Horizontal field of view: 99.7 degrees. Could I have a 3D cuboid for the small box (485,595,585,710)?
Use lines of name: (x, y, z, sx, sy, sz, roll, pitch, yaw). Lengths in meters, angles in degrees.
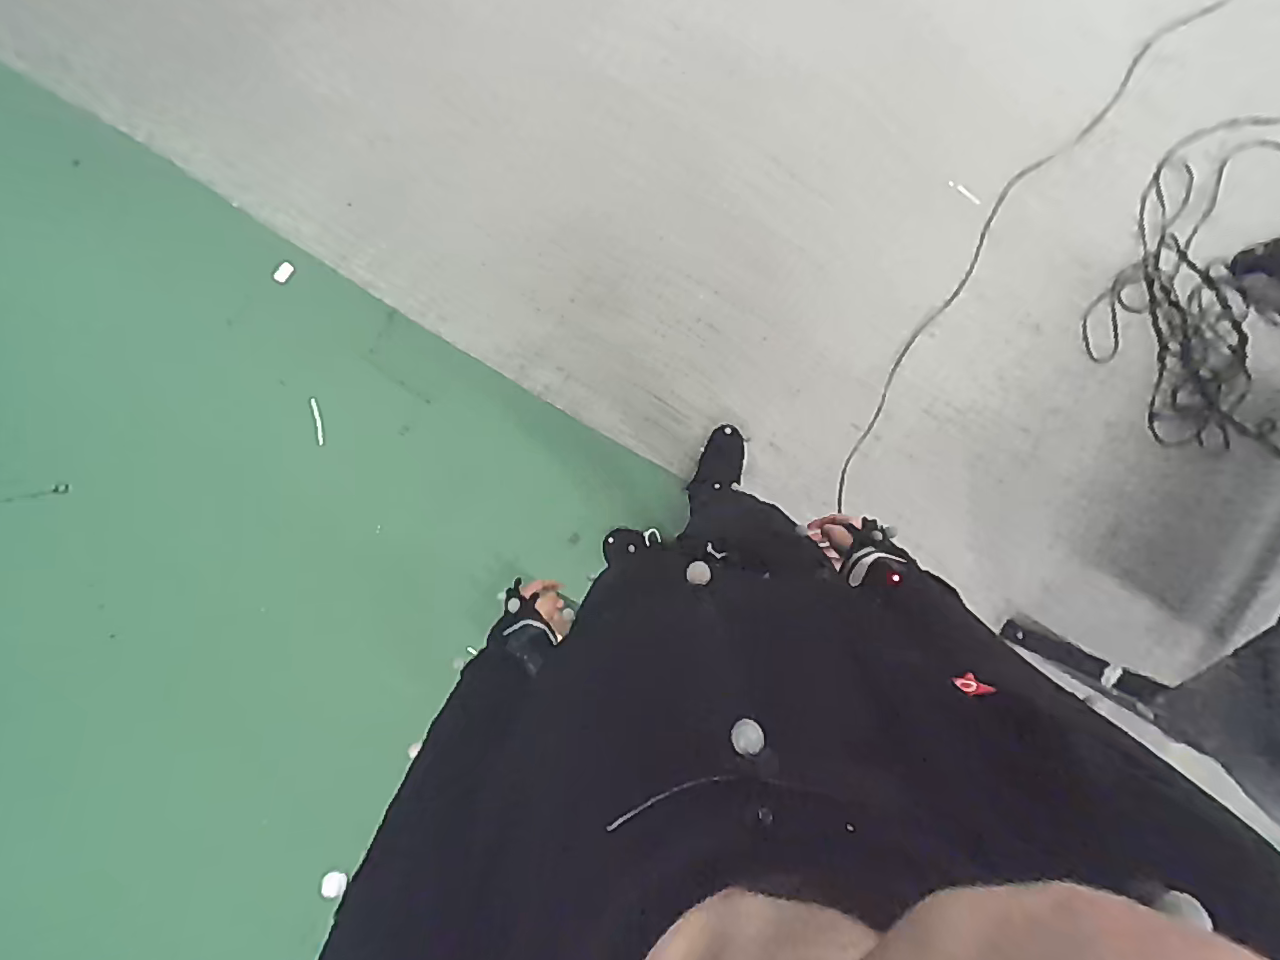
small box: (-0.241, 0.404, 1.294, 0.168, 0.176, 0.179, 30, 90, -4)
